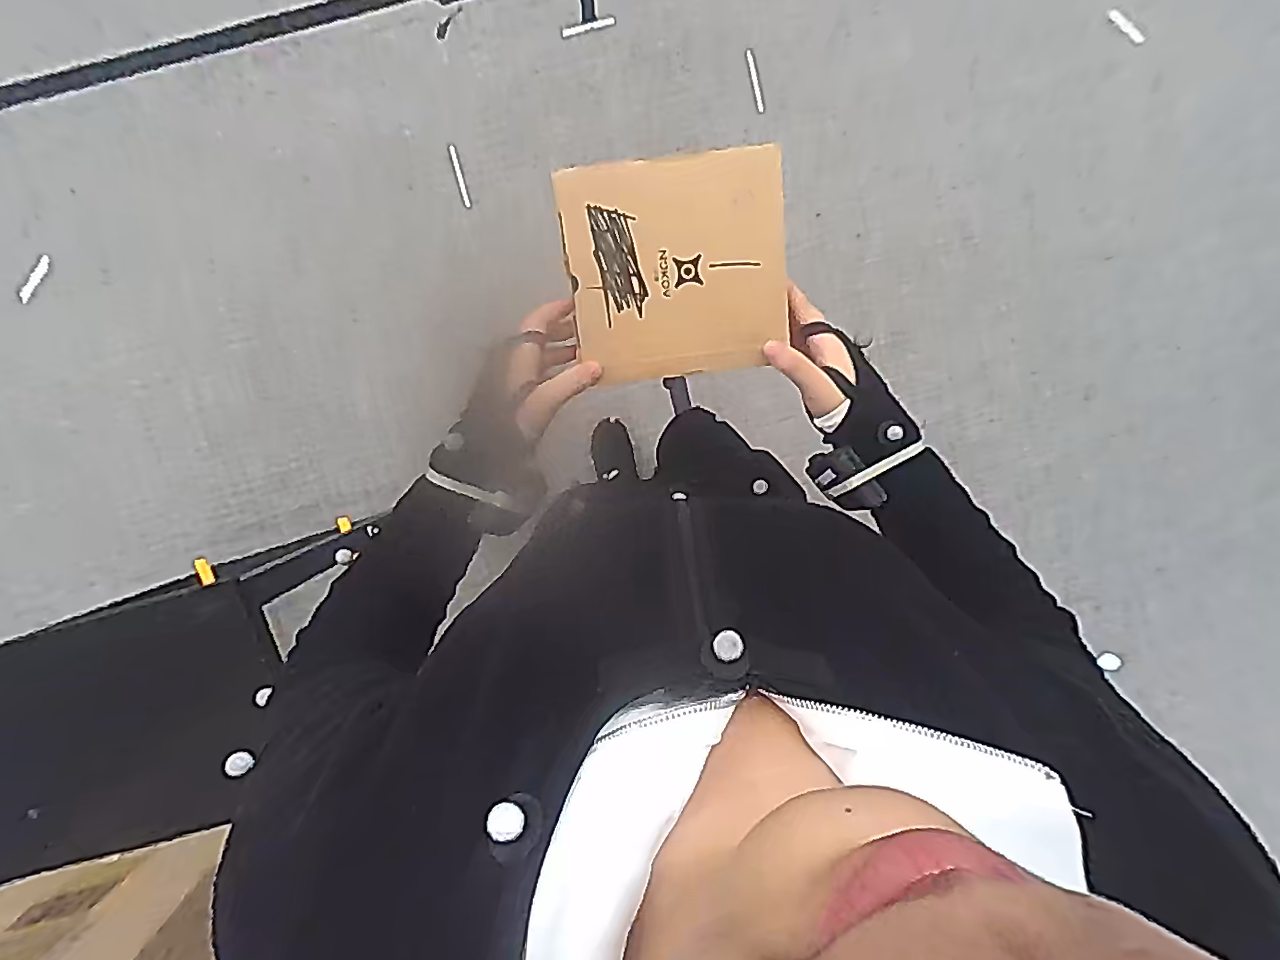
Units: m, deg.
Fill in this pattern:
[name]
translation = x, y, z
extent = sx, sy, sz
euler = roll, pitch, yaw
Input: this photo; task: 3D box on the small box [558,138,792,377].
[small box]
translation = 0.030, -0.191, 0.503
extent = 0.179, 0.176, 0.168
euler = -7, 106, 0
